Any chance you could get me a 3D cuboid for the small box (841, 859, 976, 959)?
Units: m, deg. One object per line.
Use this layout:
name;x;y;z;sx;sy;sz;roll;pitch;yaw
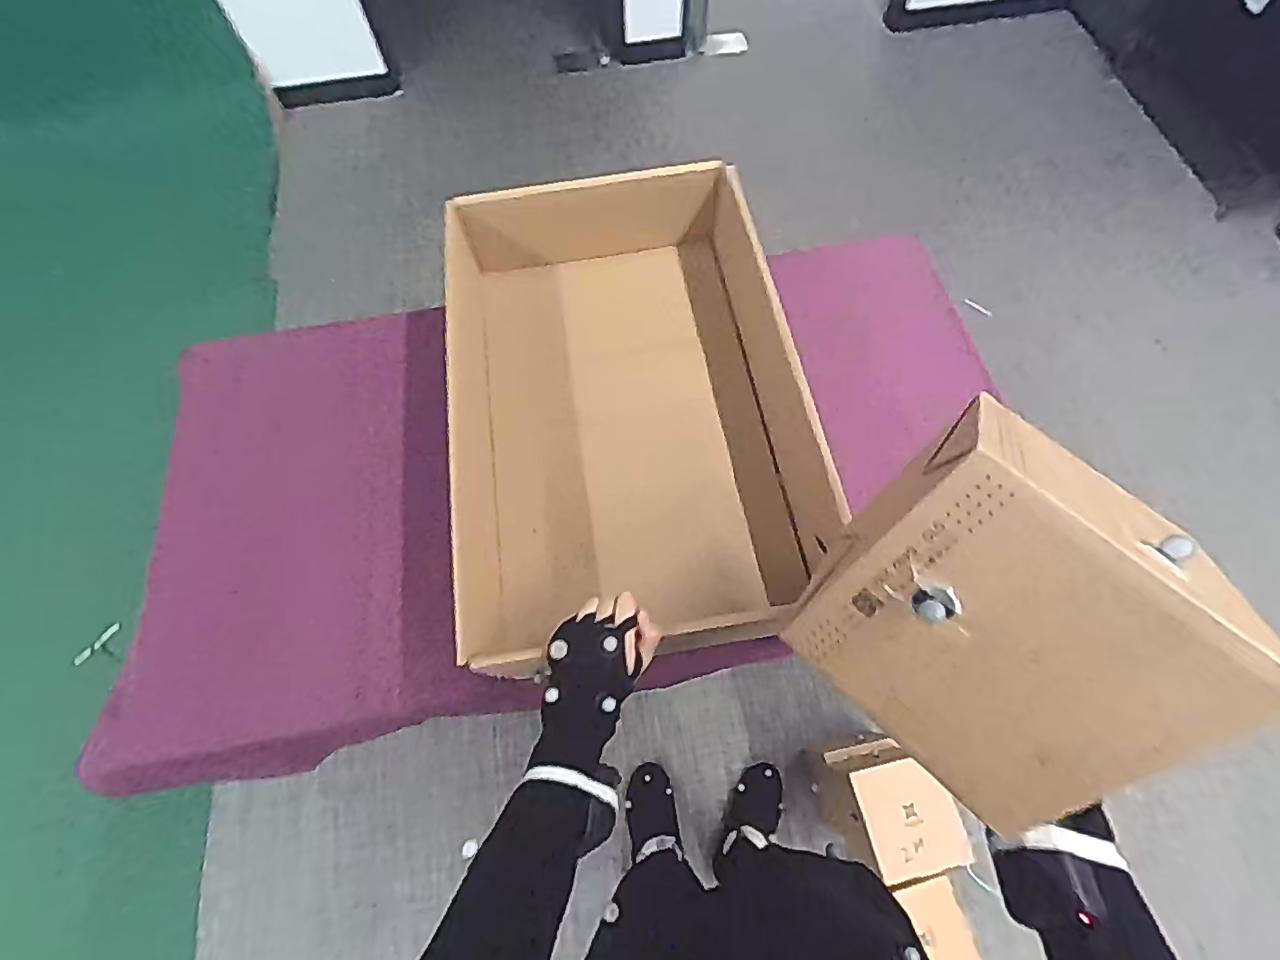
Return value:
small box;0.524;0.892;1.081;0.179;0.176;0.168;-14;67;-5
